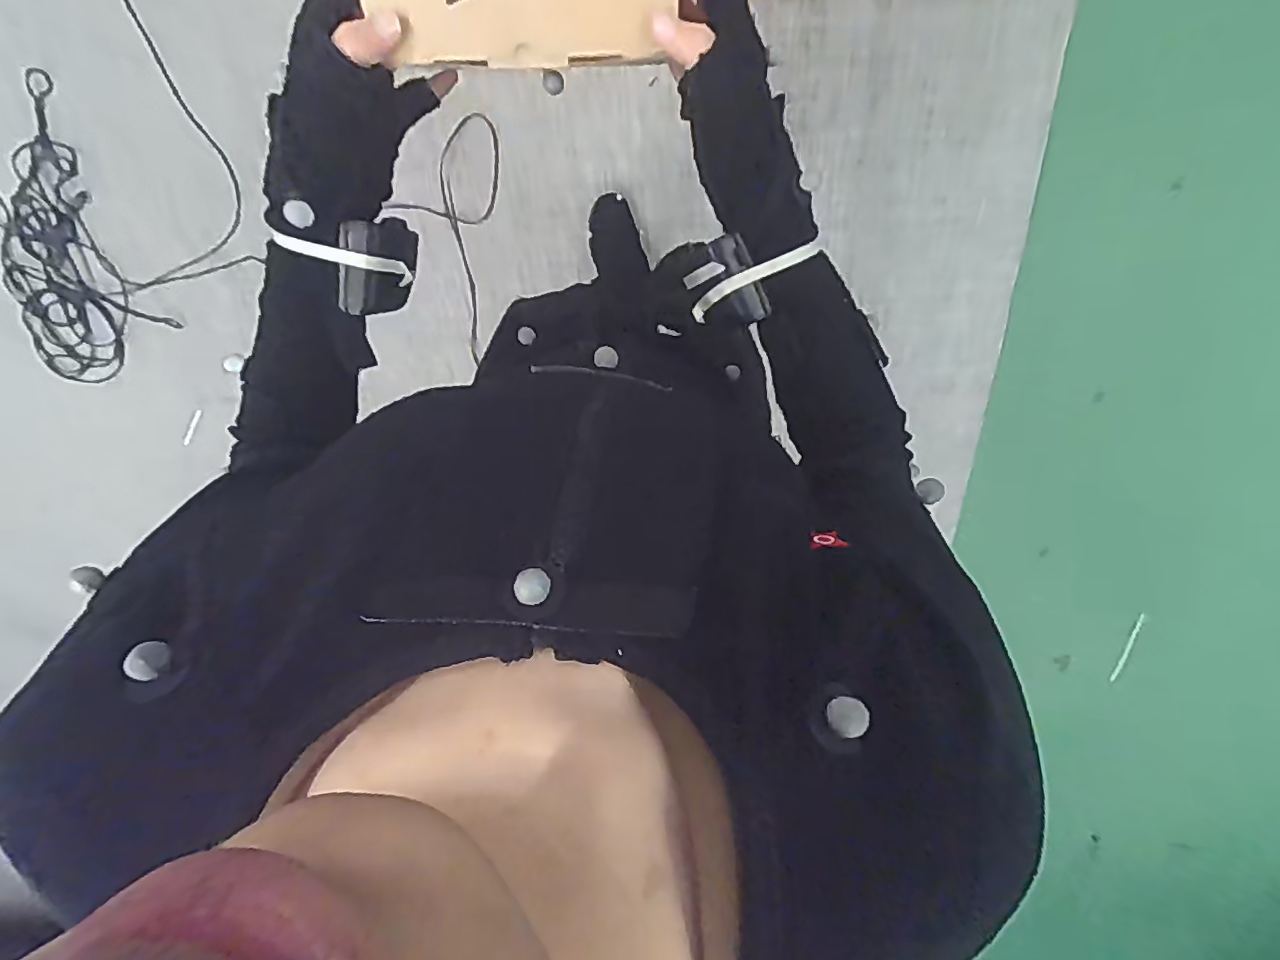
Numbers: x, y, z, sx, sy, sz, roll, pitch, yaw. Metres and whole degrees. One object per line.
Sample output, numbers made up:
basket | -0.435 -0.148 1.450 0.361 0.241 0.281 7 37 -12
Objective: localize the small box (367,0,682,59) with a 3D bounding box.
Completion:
small box | -0.062 -0.354 0.305 0.168 0.176 0.179 -1 126 0
